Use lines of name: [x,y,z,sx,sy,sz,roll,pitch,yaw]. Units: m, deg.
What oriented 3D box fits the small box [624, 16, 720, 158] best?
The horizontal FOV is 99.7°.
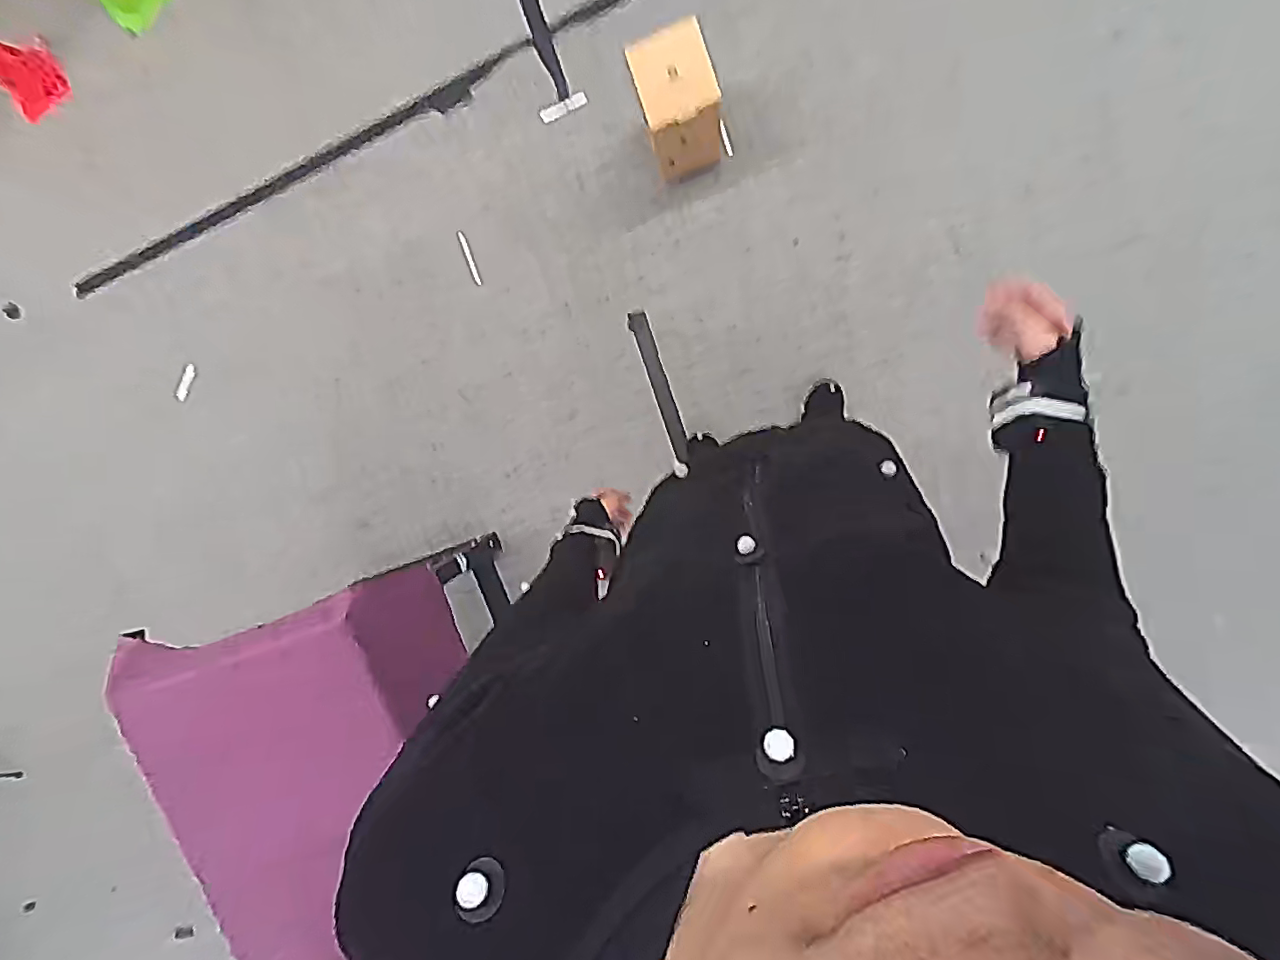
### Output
small box: [0.075,-0.888,1.239,0.168,0.176,0.179,-20,96,10]
